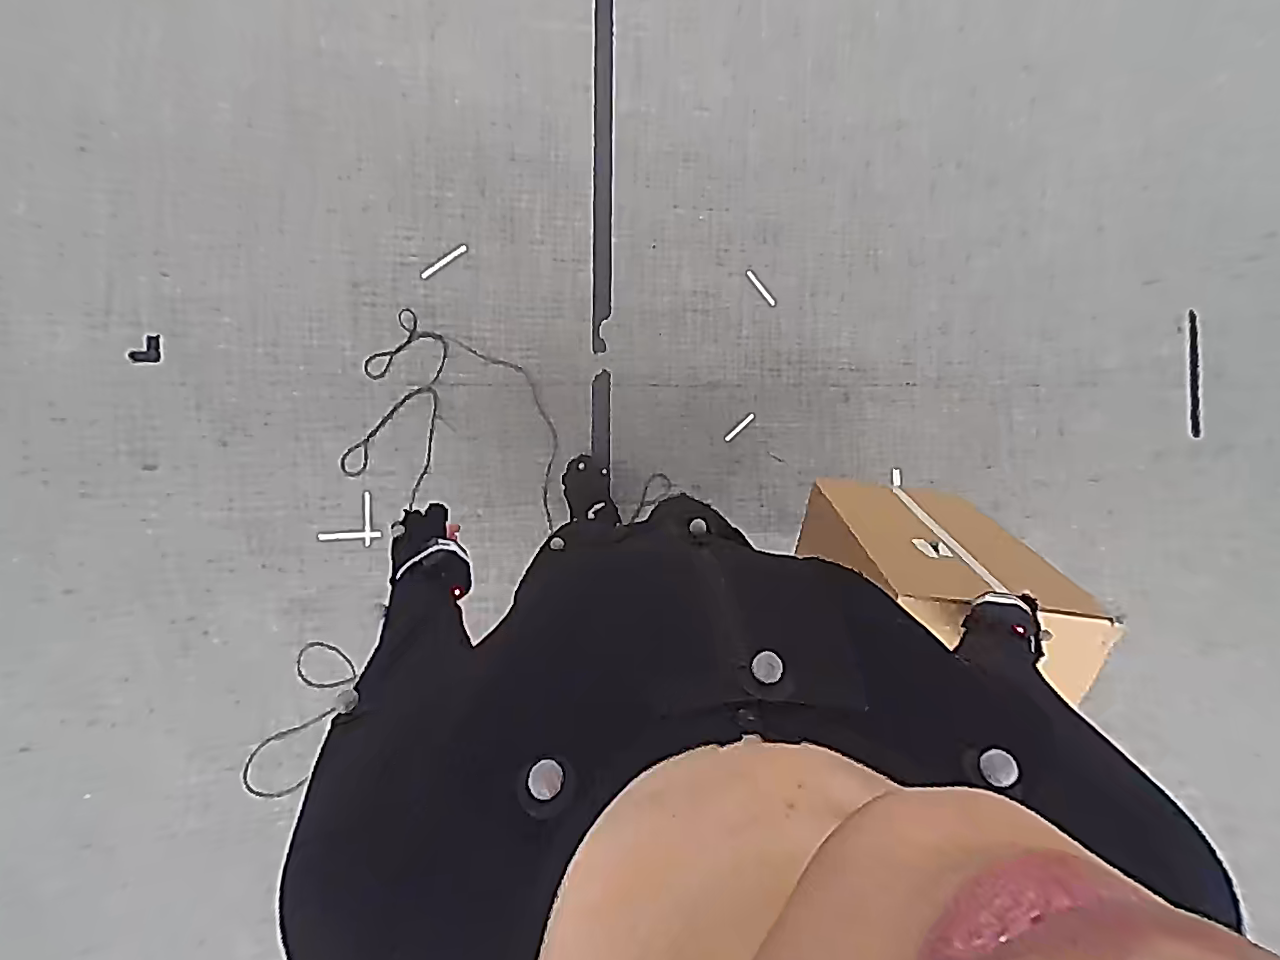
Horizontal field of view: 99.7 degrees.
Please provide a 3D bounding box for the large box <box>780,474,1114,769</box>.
[{"bbox_3d":[0.478,0.225,0.971,0.320,0.408,0.320,7,114,-2],"label":"large box"}]
